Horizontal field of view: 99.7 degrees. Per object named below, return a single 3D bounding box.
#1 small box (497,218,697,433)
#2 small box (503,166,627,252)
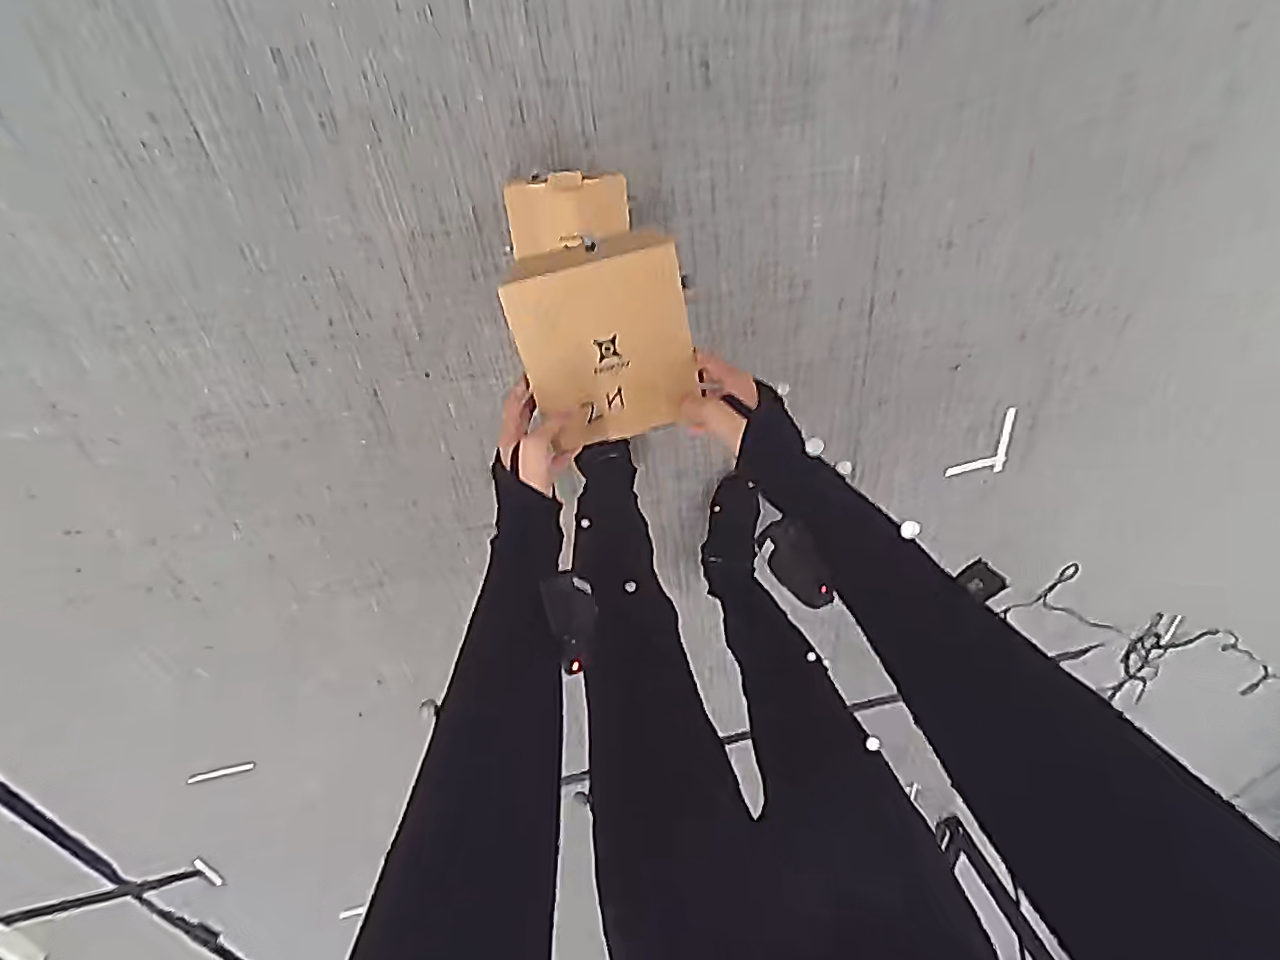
[{"bbox_3d":[-0.043,-0.178,0.595,0.168,0.176,0.179,-13,121,2],"label":"small box"},{"bbox_3d":[-0.111,-0.370,0.821,0.168,0.176,0.179,-8,121,-7],"label":"small box"}]
